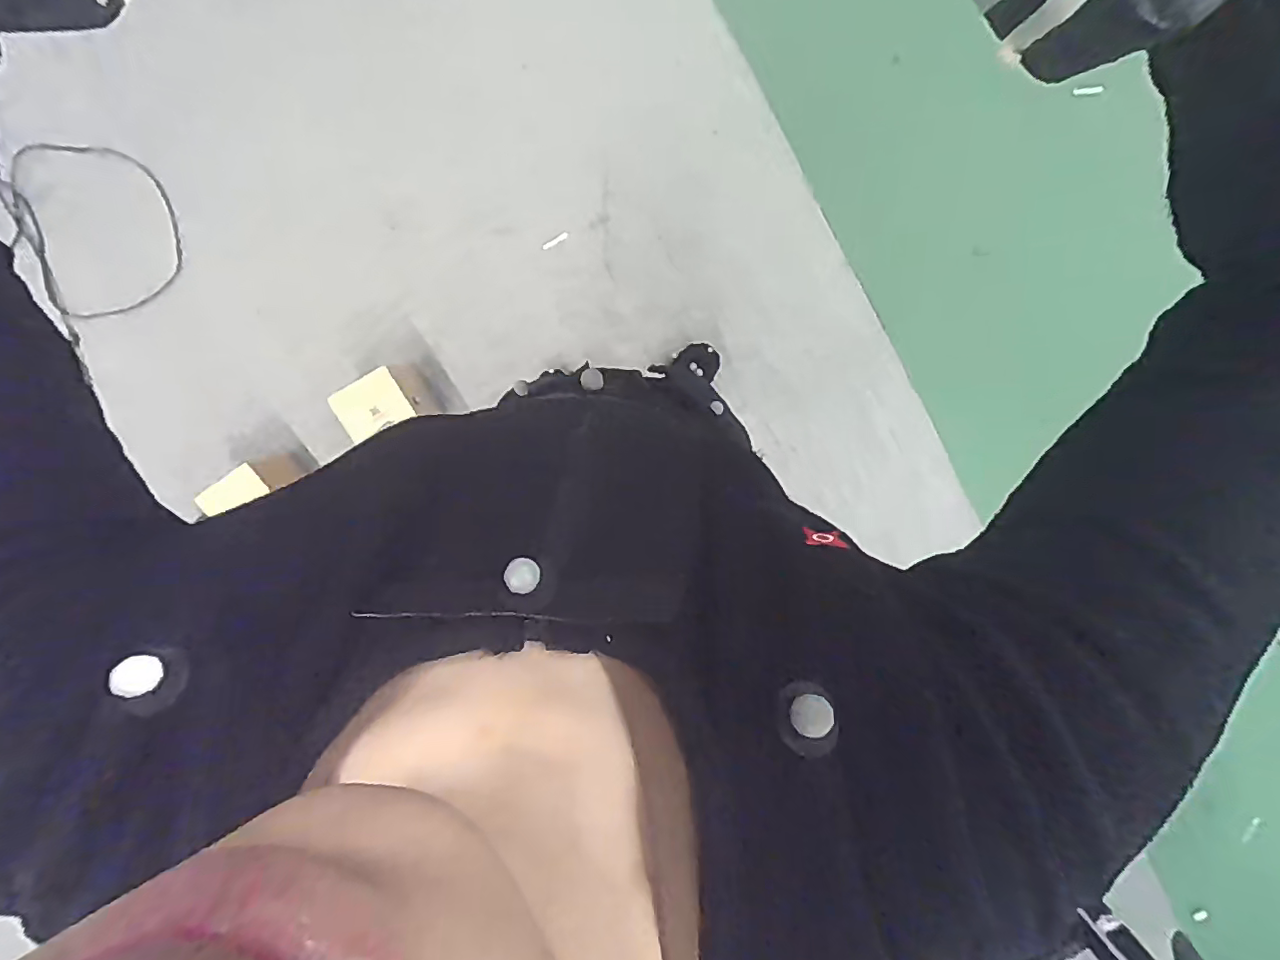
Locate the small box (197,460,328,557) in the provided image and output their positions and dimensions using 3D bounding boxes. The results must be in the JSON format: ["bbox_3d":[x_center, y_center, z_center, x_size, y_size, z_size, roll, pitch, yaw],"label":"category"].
[{"bbox_3d":[-0.954,0.062,1.382,0.168,0.176,0.179,-33,102,5],"label":"small box"}]

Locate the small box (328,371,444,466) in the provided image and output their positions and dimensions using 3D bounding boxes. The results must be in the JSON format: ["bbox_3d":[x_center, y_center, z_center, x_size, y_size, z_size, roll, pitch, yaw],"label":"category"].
[{"bbox_3d":[-0.619,-0.160,1.346,0.168,0.176,0.179,-28,101,4],"label":"small box"}]
